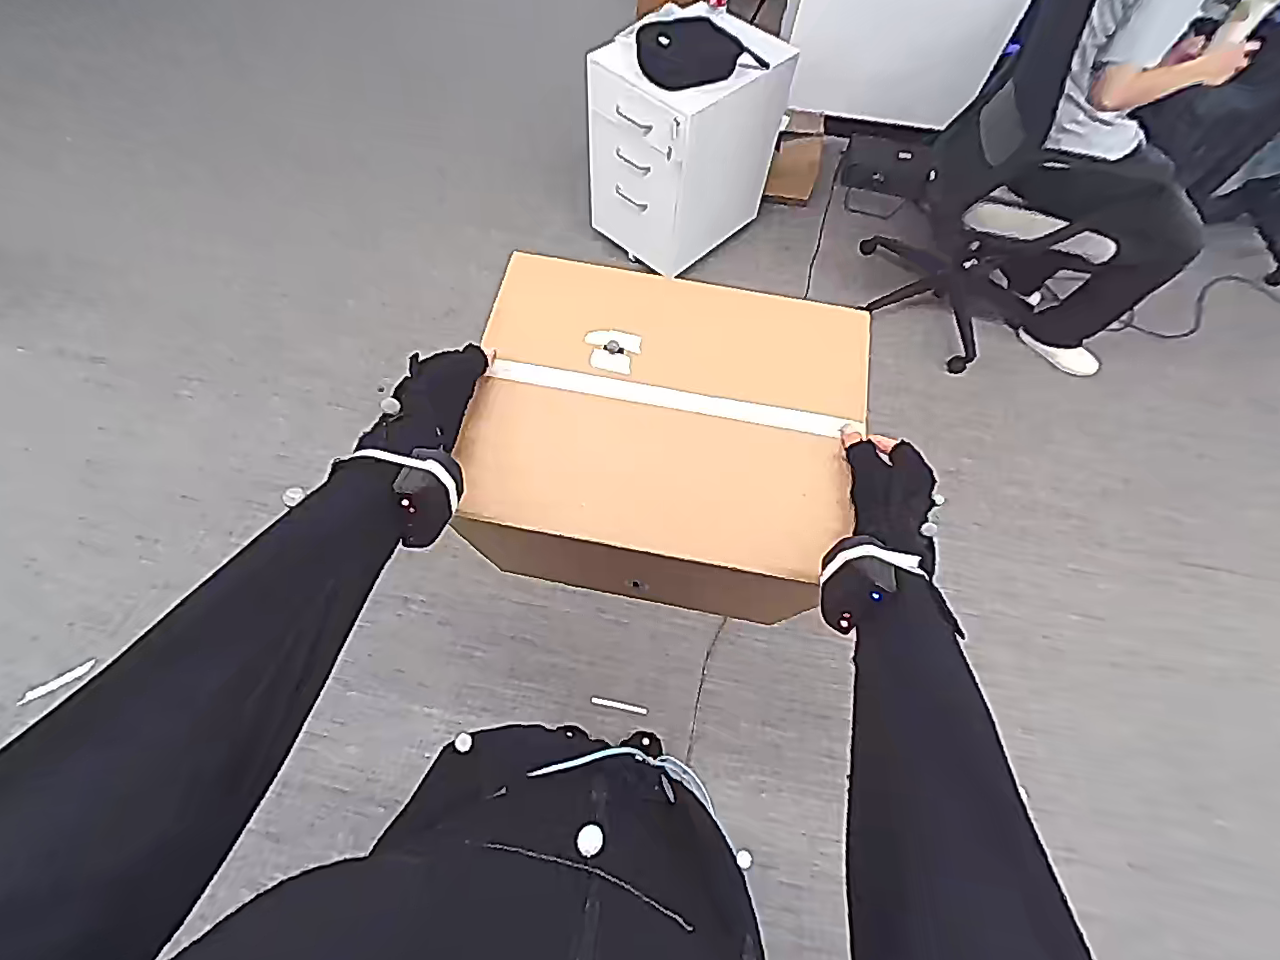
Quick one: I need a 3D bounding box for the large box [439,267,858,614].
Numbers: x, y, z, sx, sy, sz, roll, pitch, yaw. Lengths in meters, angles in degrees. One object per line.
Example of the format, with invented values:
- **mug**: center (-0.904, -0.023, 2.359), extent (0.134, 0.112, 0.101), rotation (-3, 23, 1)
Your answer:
- **large box**: center (0.026, -0.025, 0.705), extent (0.408, 0.320, 0.320), rotation (10, 69, 4)
